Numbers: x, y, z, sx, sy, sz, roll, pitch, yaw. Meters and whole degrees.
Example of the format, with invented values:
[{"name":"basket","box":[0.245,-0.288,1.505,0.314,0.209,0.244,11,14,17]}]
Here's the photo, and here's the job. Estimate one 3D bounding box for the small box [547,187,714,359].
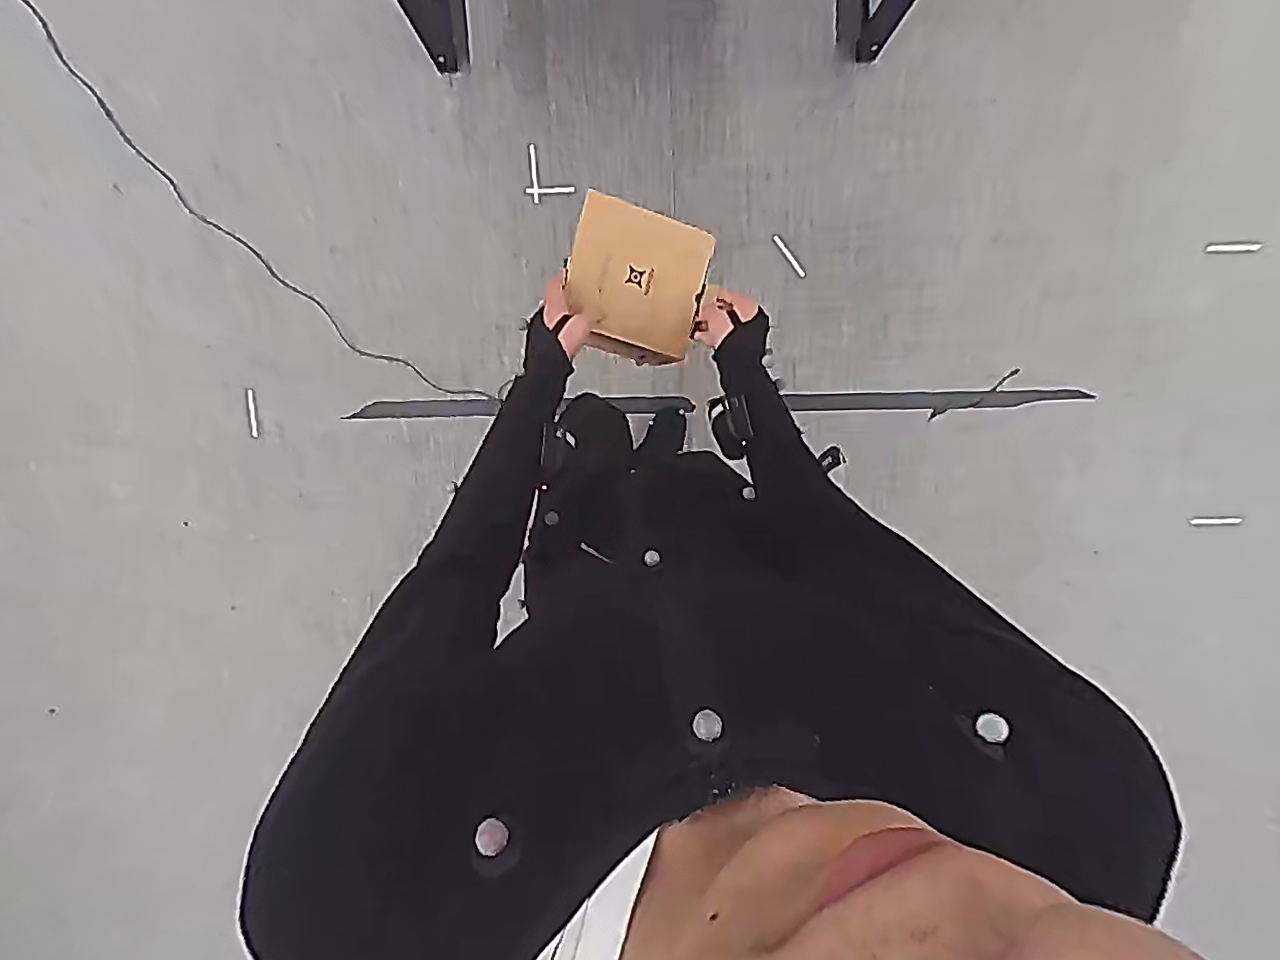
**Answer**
[{"name":"small box","box":[-0.024,-0.272,0.759,0.179,0.176,0.168,14,96,-15]}]
